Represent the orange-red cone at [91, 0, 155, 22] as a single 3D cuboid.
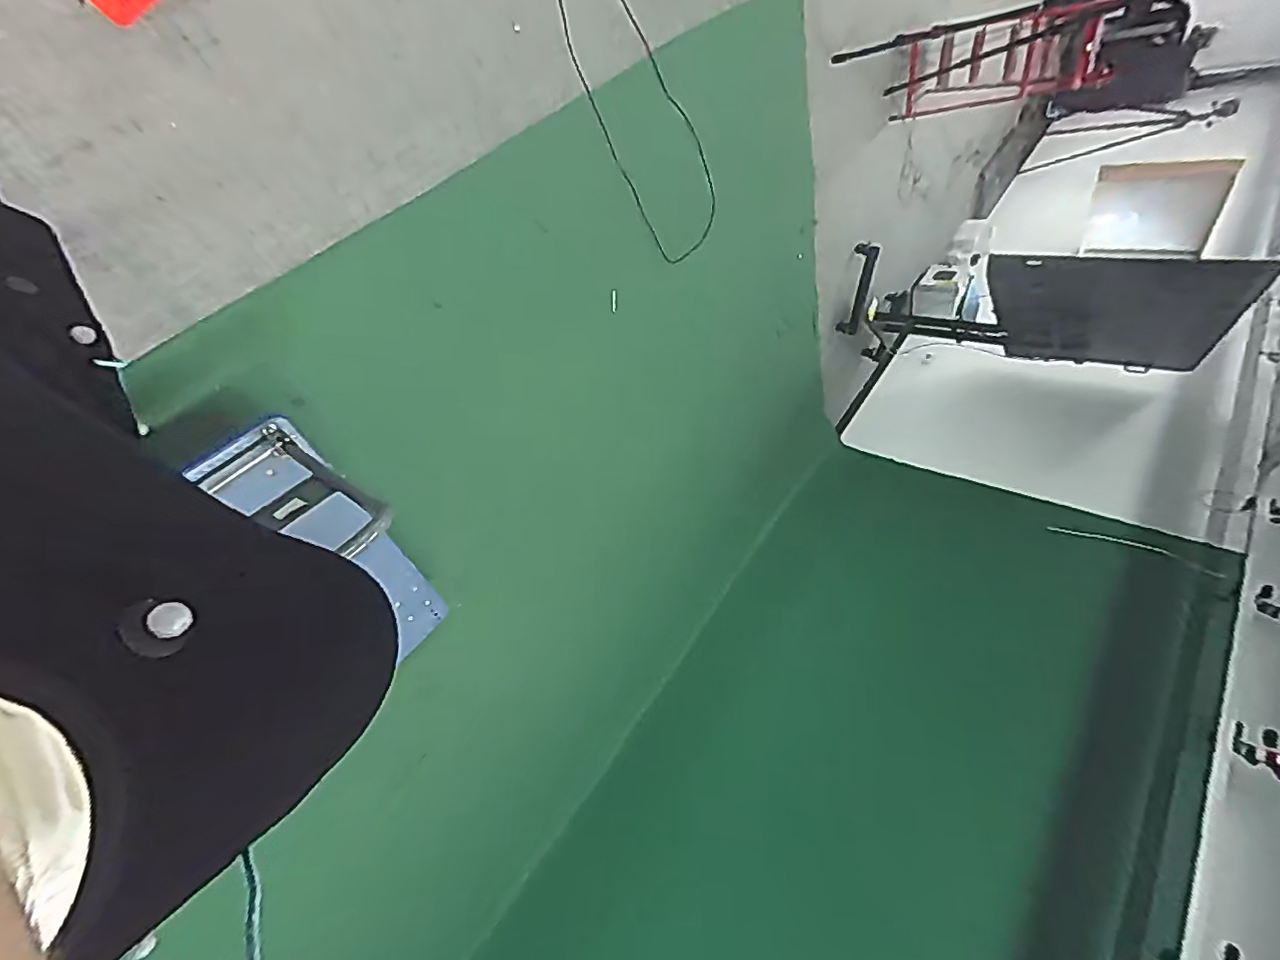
[{"bbox_3d":[-0.862,-0.950,0.893,0.199,0.360,0.198,-59,143,-14],"label":"orange-red cone"}]
